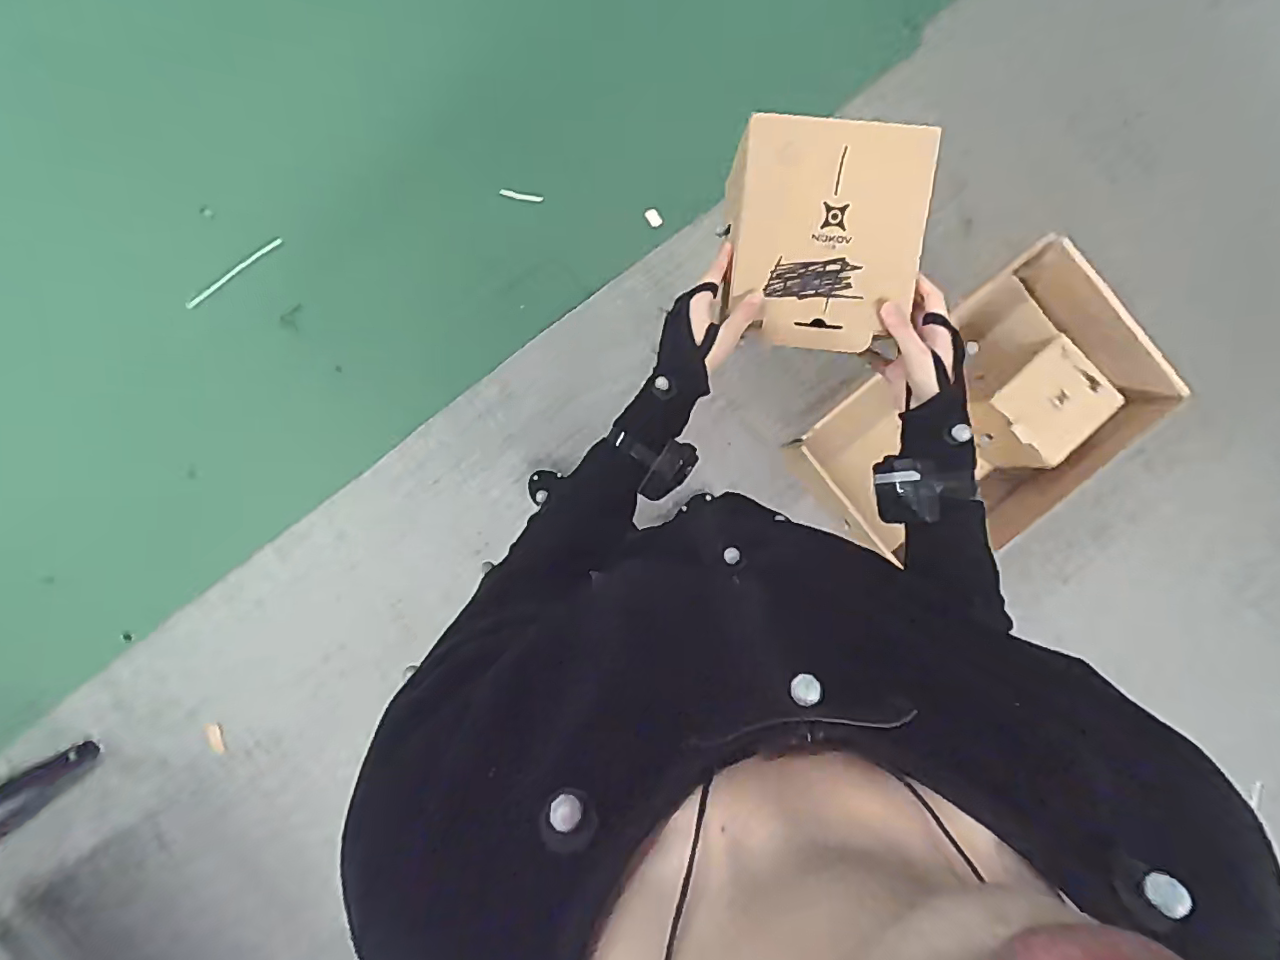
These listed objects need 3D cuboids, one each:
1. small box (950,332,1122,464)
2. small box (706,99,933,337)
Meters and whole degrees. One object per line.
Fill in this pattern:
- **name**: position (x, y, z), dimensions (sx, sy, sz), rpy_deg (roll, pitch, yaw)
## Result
- **small box**: position (0.731, -0.146, 1.029), dimensions (0.179, 0.176, 0.168), rpy_deg (-43, 92, 2)
- **small box**: position (0.163, -0.247, 0.555), dimensions (0.168, 0.176, 0.179), rpy_deg (5, 100, 0)
